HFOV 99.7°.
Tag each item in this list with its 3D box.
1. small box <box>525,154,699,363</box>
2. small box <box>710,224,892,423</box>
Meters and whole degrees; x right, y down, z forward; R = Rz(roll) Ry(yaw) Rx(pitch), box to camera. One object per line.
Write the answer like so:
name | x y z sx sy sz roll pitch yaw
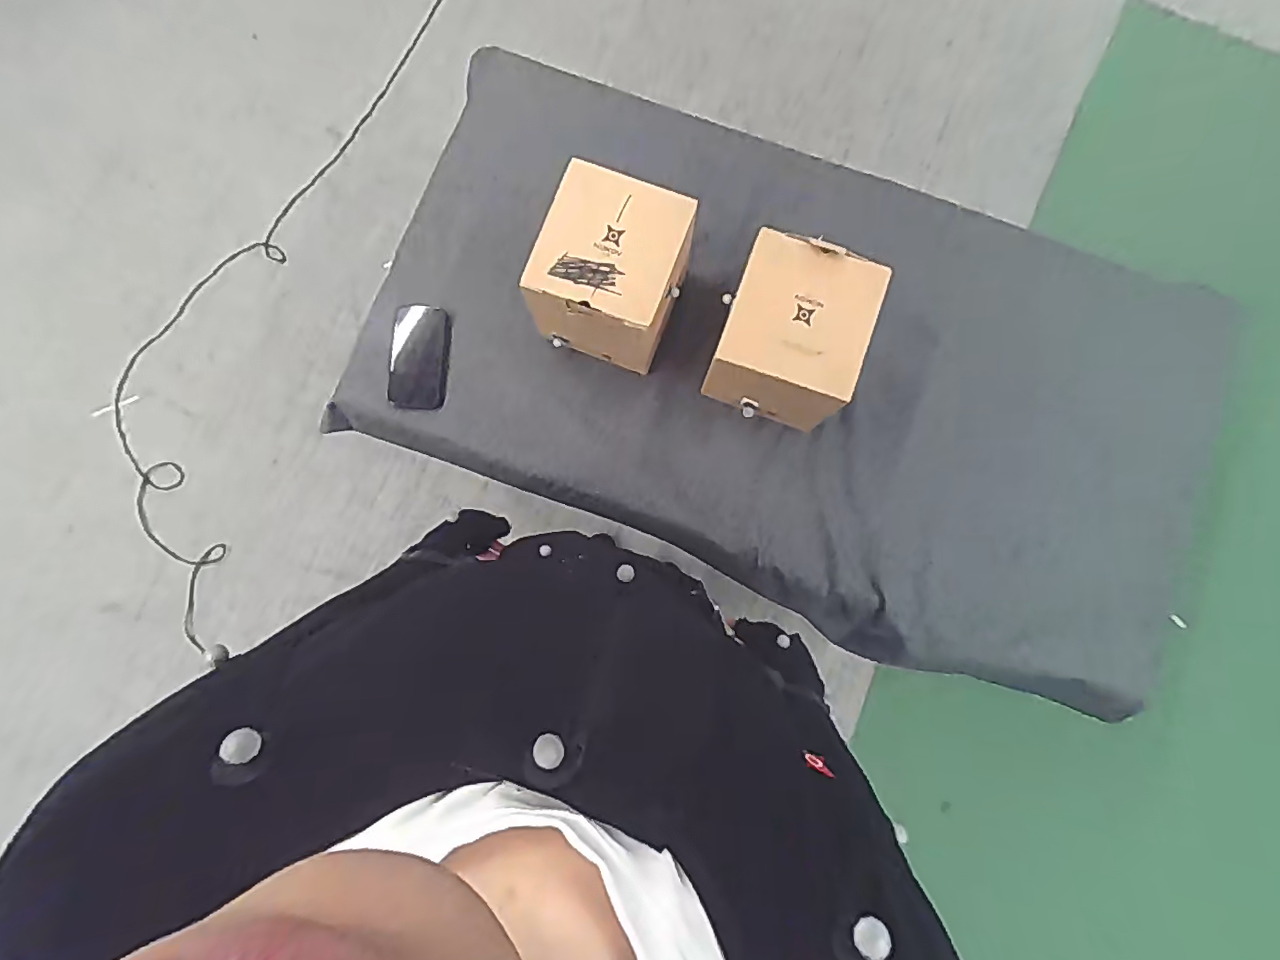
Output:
small box | -0.032 -0.280 0.724 0.168 0.176 0.179 20 83 2
small box | 0.199 -0.195 0.718 0.168 0.176 0.179 19 85 3
